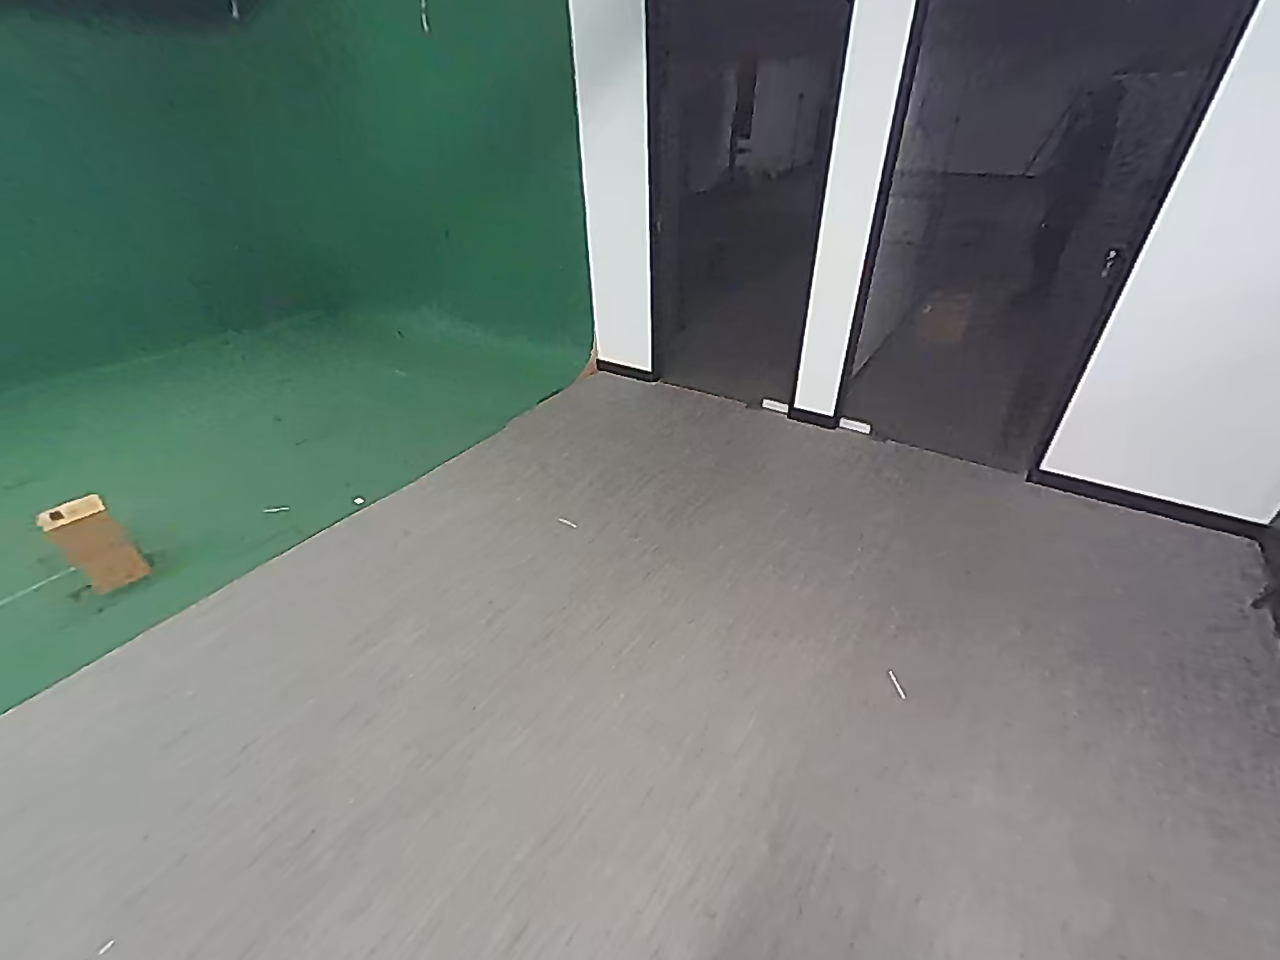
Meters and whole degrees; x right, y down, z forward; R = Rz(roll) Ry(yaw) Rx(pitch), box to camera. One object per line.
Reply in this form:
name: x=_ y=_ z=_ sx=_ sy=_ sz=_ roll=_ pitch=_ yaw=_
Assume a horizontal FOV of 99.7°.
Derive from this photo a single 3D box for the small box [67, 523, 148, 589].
small box: x=-2.113 y=0.309 z=2.151 sx=0.179 sy=0.176 sz=0.168 roll=26 pitch=43 yaw=34
